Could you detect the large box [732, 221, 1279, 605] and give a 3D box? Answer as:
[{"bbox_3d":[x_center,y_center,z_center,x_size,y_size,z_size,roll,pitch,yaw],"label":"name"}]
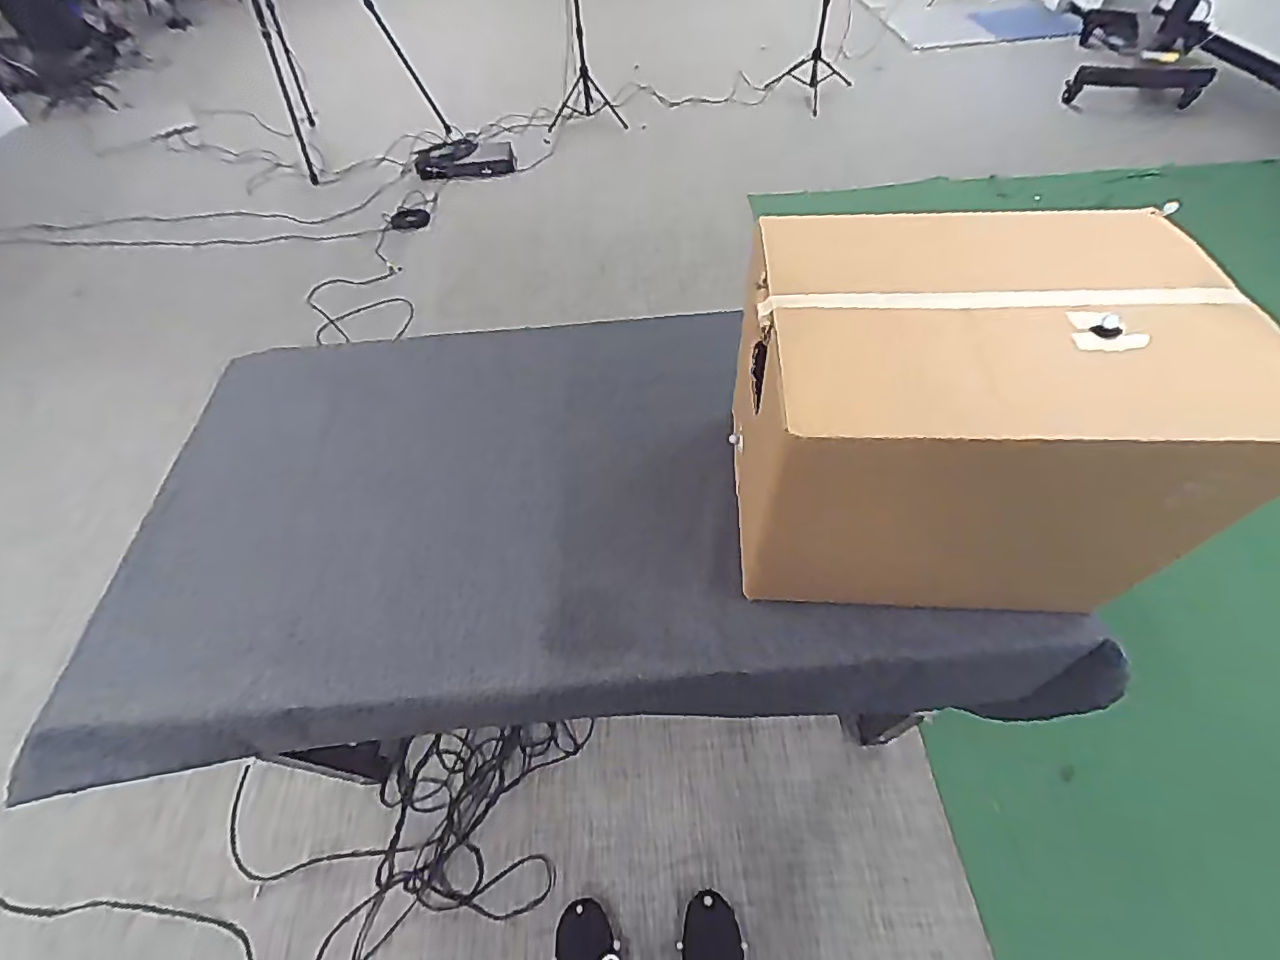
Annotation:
[{"bbox_3d":[0.327,-0.064,0.608,0.408,0.320,0.320,1,55,3],"label":"large box"}]
